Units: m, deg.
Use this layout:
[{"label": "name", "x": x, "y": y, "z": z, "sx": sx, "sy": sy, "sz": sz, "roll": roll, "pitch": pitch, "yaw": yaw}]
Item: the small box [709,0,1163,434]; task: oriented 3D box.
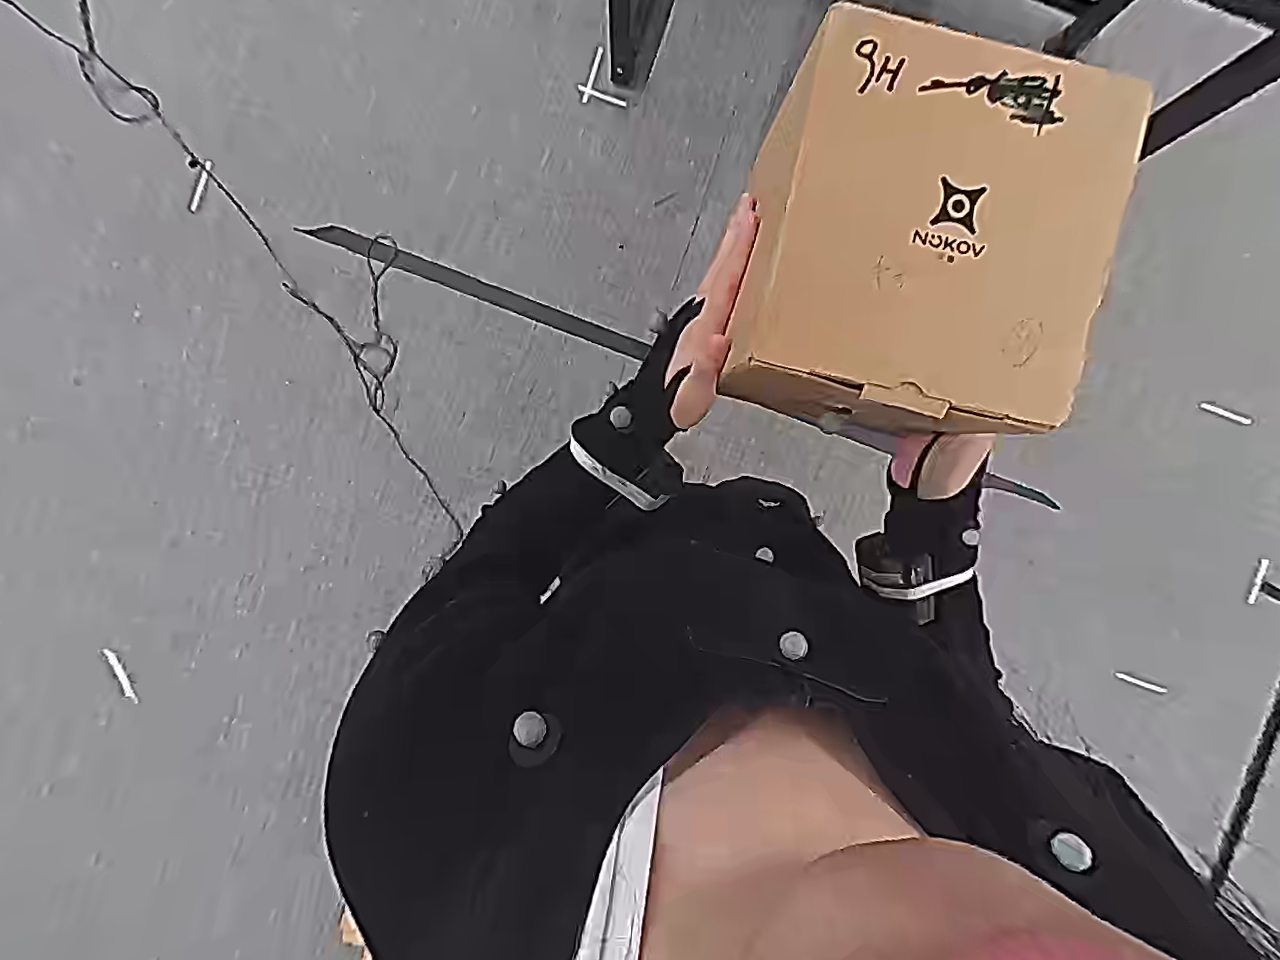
[{"label": "small box", "x": 0.147, "y": -0.132, "z": 0.339, "sx": 0.168, "sy": 0.176, "sz": 0.179, "roll": 13, "pitch": 94, "yaw": -3}]
